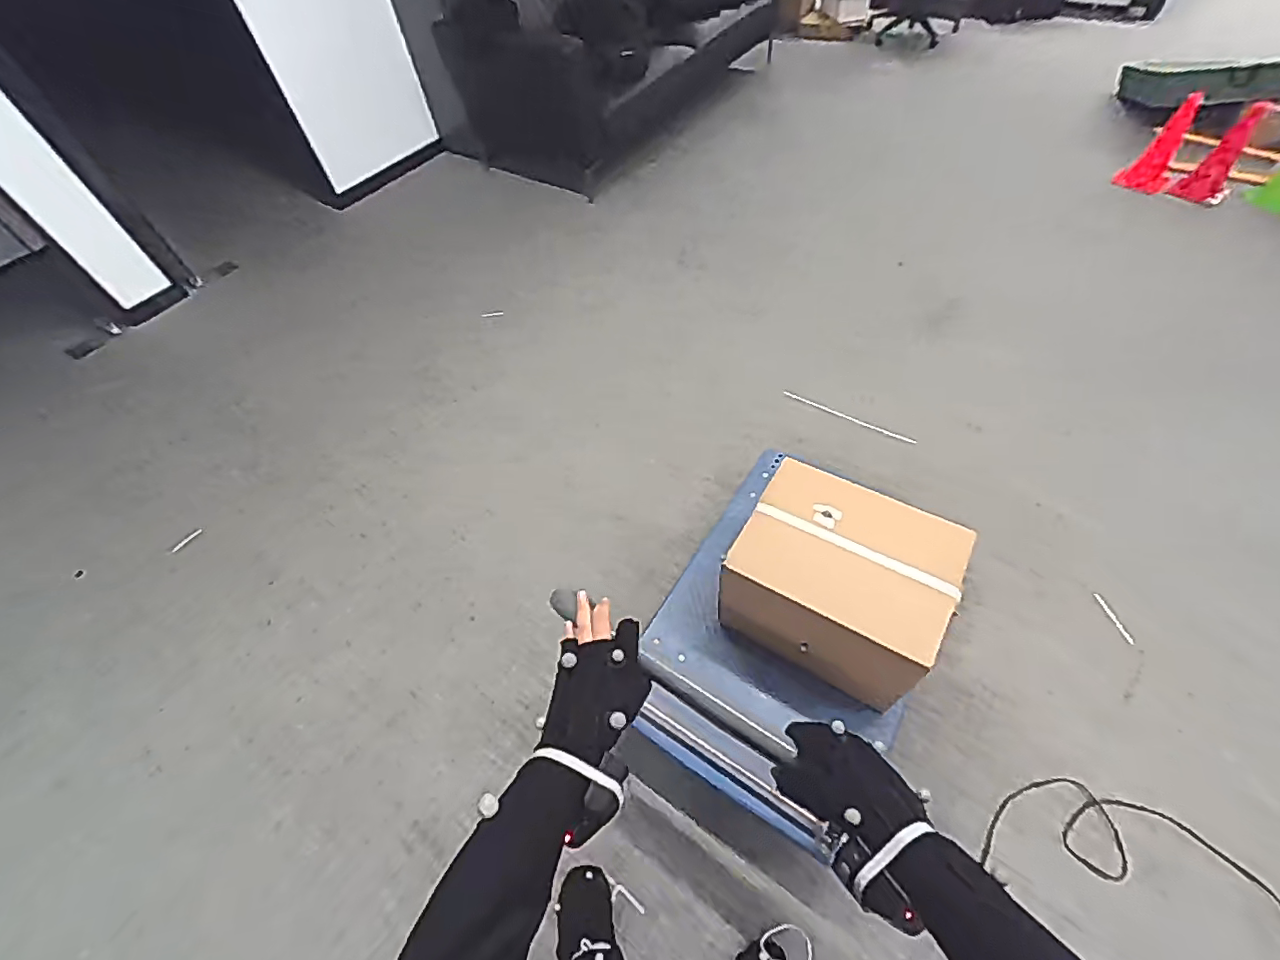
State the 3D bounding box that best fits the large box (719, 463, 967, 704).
[{"bbox_3d":[0.424,0.228,1.199,0.408,0.320,0.320,25,61,24],"label":"large box"}]
